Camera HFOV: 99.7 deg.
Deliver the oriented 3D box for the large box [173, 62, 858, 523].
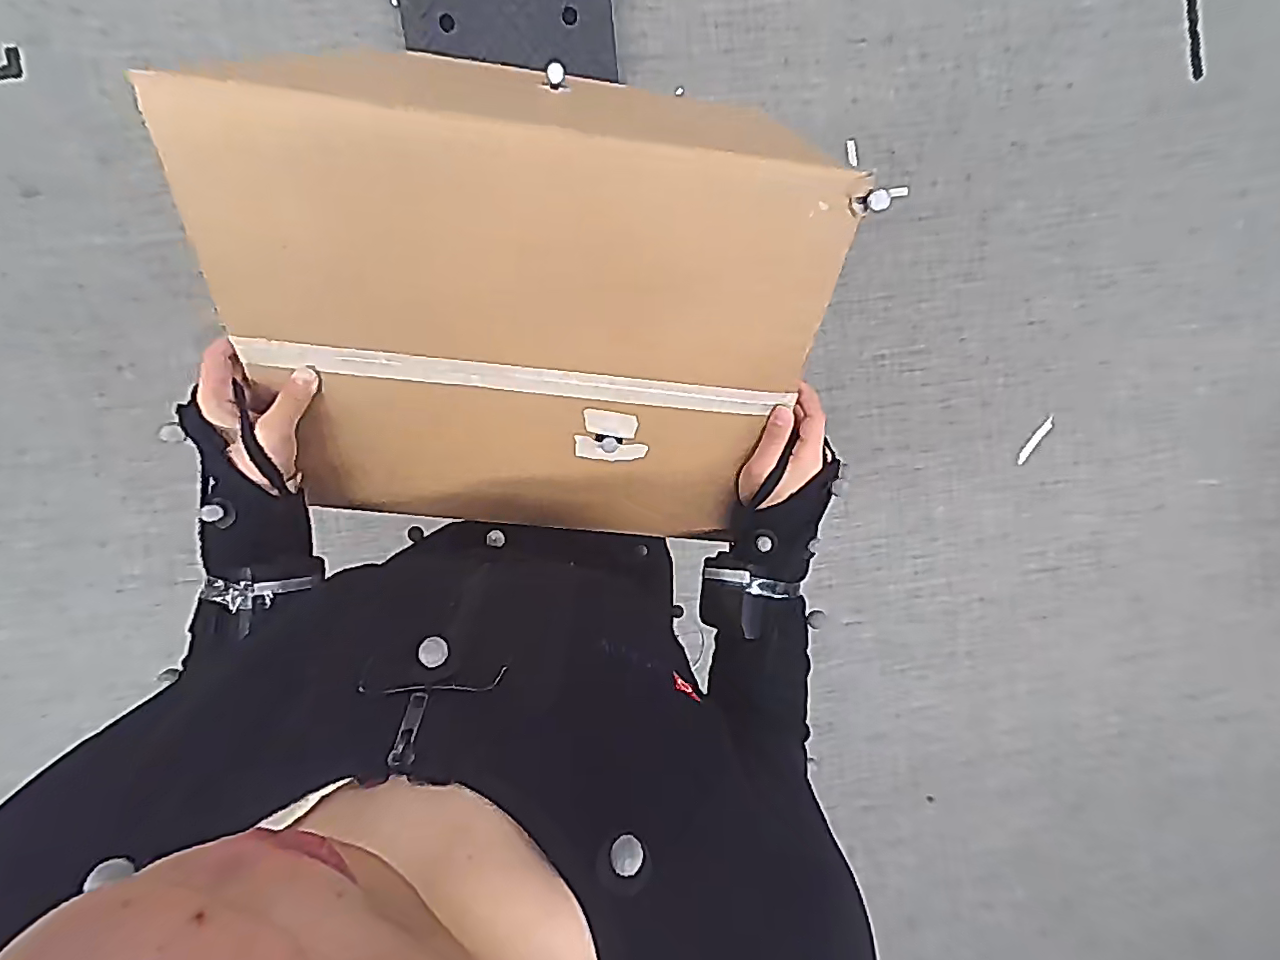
[{"bbox_3d":[-0.083,-0.182,0.521,0.408,0.320,0.320,4,132,-5],"label":"large box"}]
